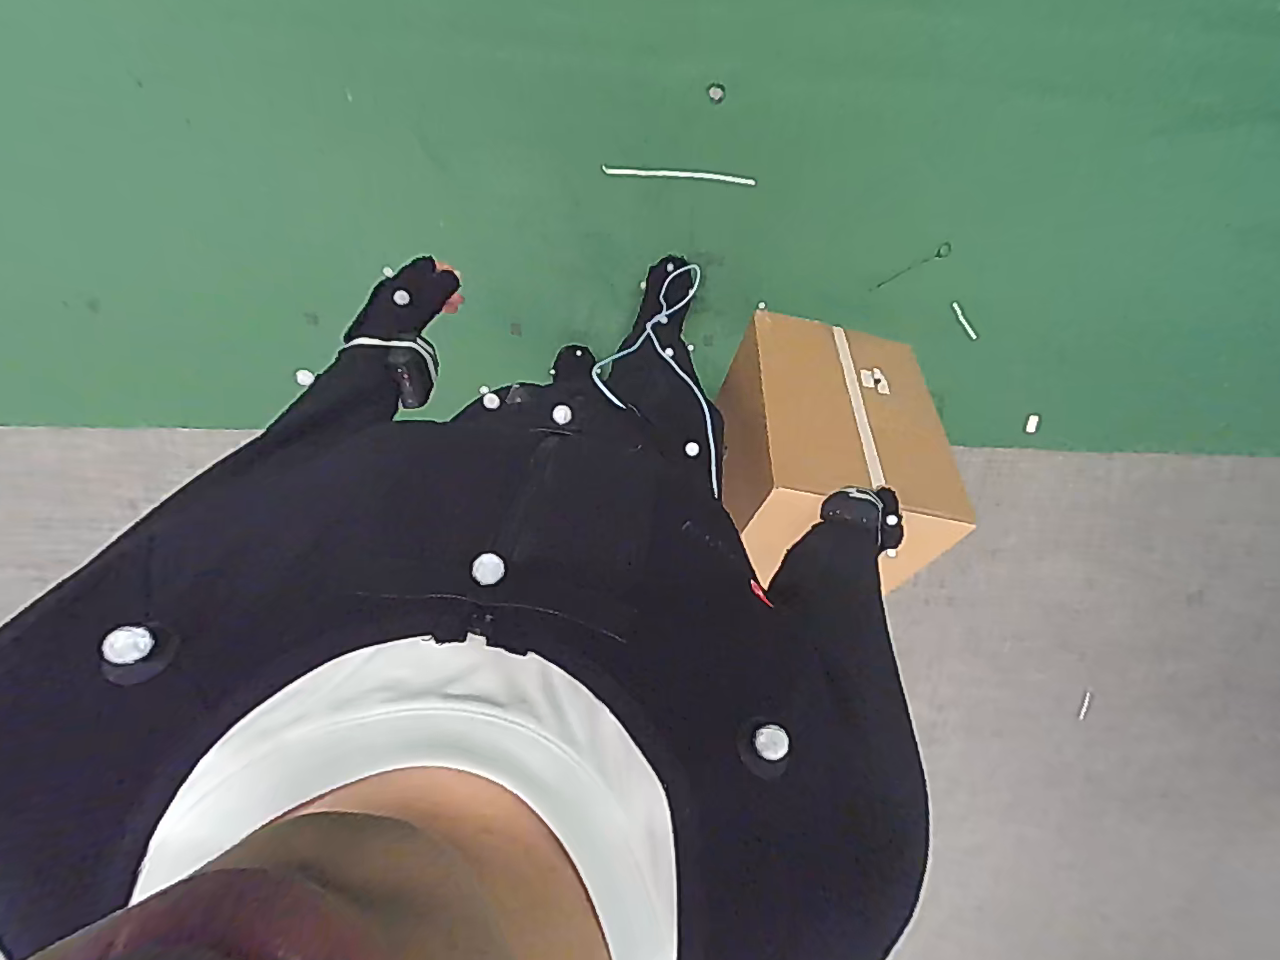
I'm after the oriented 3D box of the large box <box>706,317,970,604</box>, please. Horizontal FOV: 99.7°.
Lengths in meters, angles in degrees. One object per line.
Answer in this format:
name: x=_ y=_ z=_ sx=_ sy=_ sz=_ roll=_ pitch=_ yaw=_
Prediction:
large box: x=0.314 y=-0.028 z=1.001 sx=0.320 sy=0.408 sz=0.320 roll=11 pitch=142 yaw=-8
